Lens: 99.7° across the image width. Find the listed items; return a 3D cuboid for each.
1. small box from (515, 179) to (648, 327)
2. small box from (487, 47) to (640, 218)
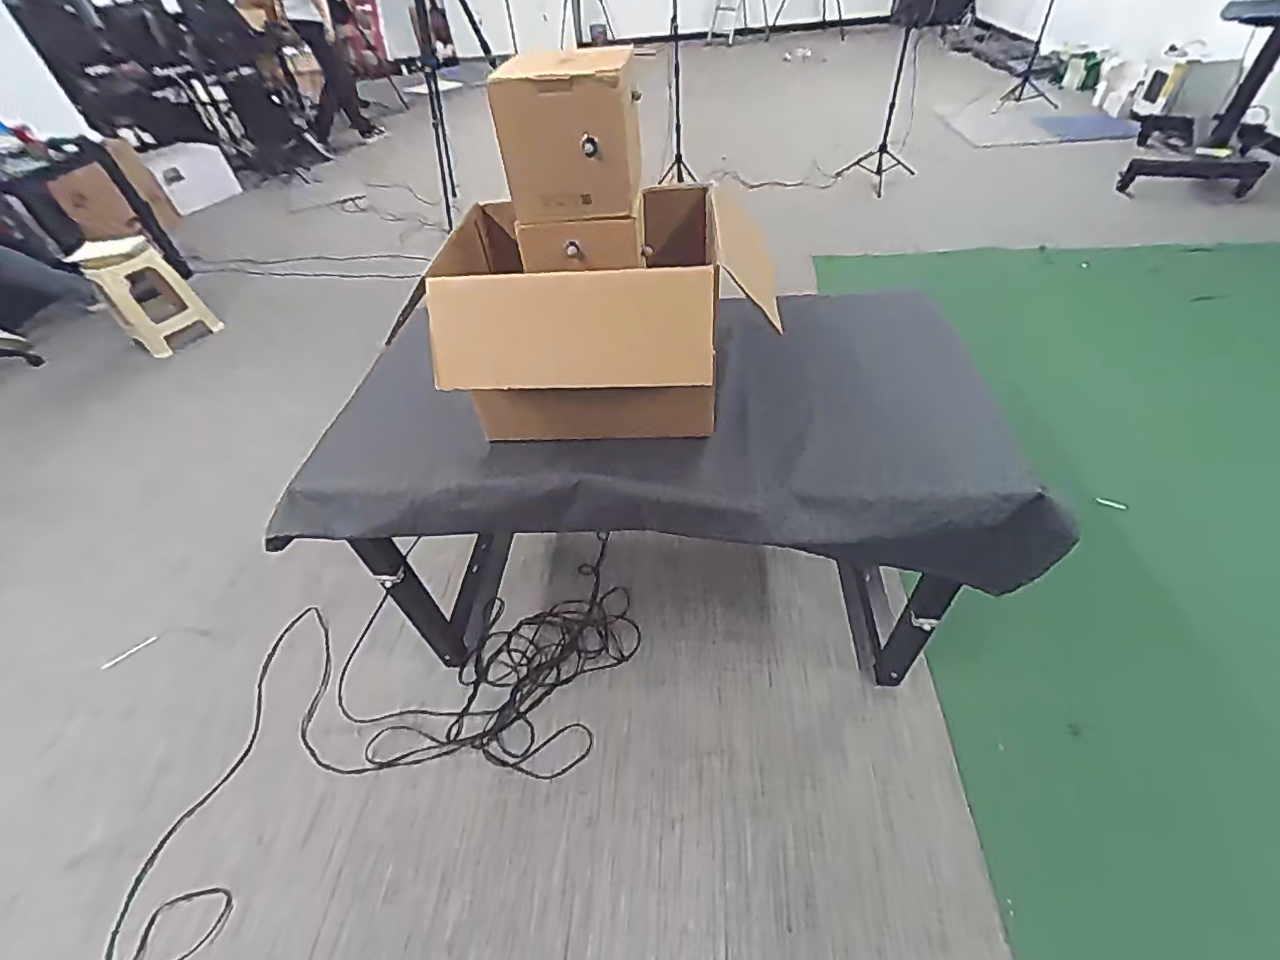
[{"bbox_3d":[-0.079,-0.358,0.861,0.179,0.176,0.168,-1,46,5],"label":"small box"},{"bbox_3d":[-0.091,-0.476,0.750,0.168,0.176,0.179,1,45,6],"label":"small box"}]
